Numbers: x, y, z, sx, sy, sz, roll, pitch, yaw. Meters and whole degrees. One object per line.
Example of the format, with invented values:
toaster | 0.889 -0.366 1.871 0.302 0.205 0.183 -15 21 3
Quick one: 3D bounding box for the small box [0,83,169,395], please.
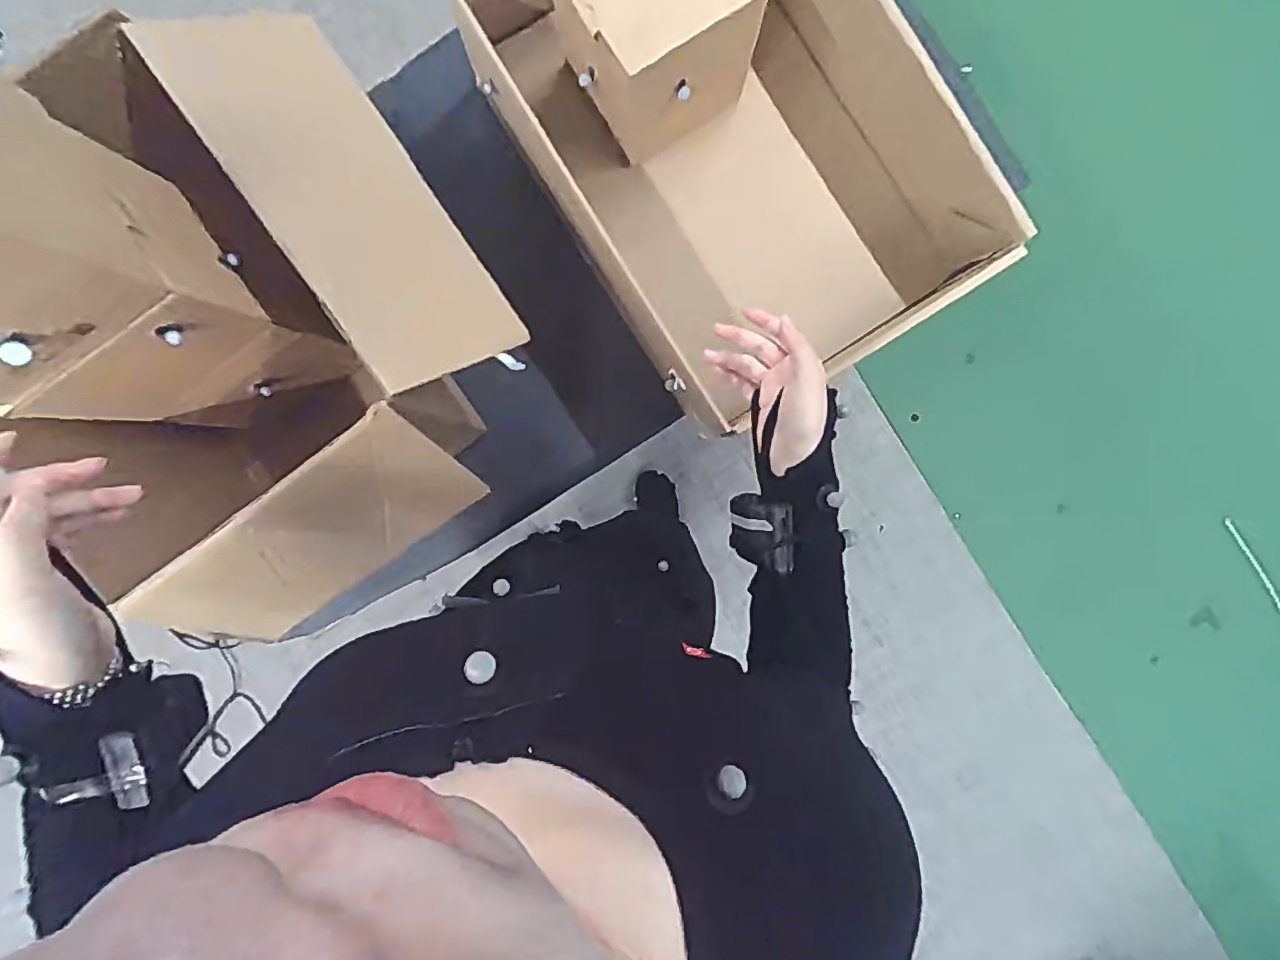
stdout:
small box | -0.476 -0.170 0.341 0.168 0.176 0.179 -33 94 3
